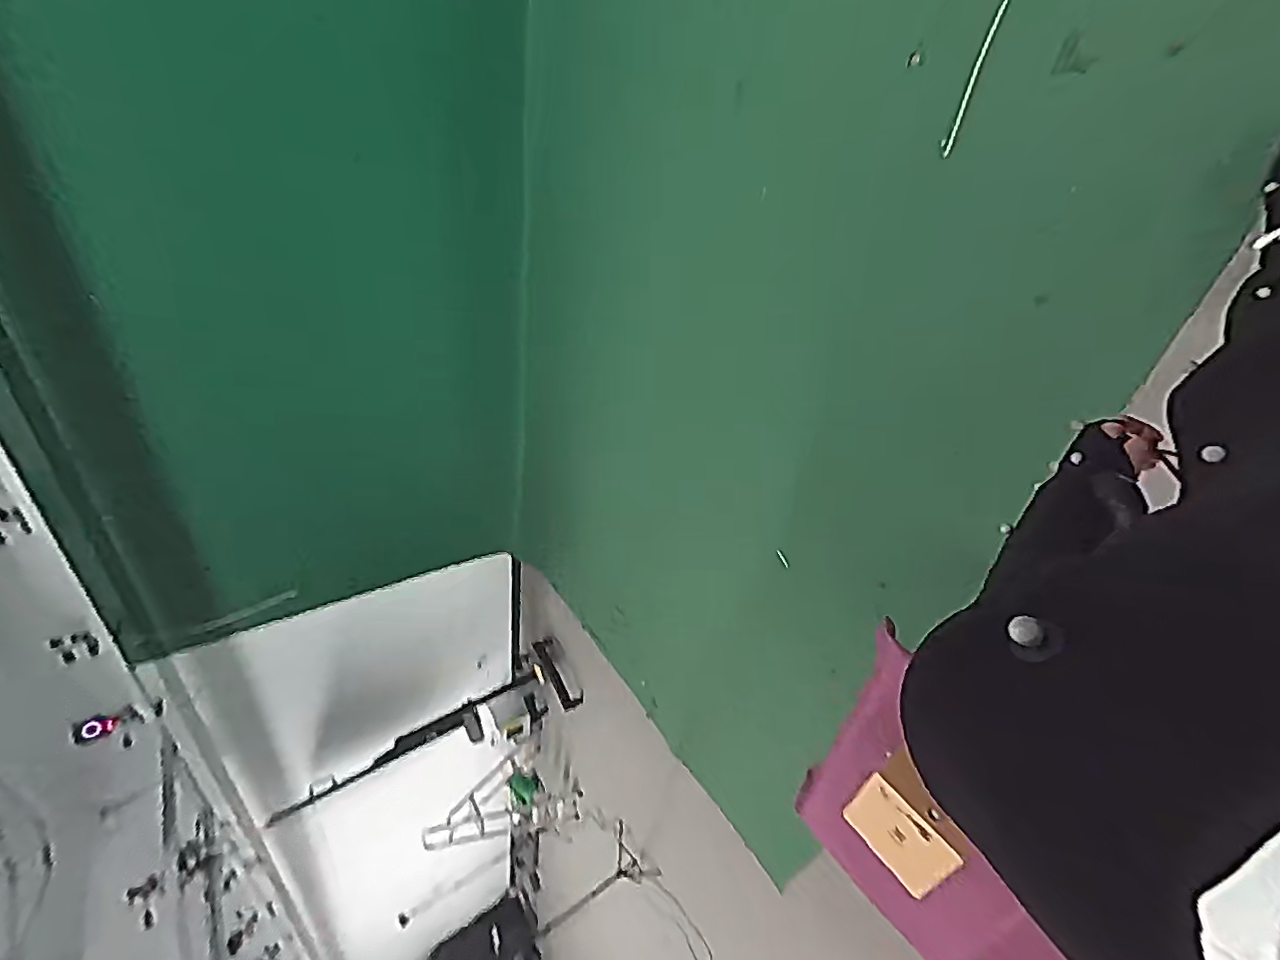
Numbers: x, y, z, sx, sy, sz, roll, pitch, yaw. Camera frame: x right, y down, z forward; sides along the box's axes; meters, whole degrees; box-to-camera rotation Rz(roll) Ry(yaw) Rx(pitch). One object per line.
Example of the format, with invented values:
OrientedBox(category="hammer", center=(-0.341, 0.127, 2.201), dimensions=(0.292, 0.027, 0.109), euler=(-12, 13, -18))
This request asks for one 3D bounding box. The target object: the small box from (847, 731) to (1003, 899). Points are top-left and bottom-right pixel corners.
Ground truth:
OrientedBox(category="small box", center=(0.523, 0.608, 0.995), dimensions=(0.168, 0.176, 0.179), euler=(41, 137, 36))
